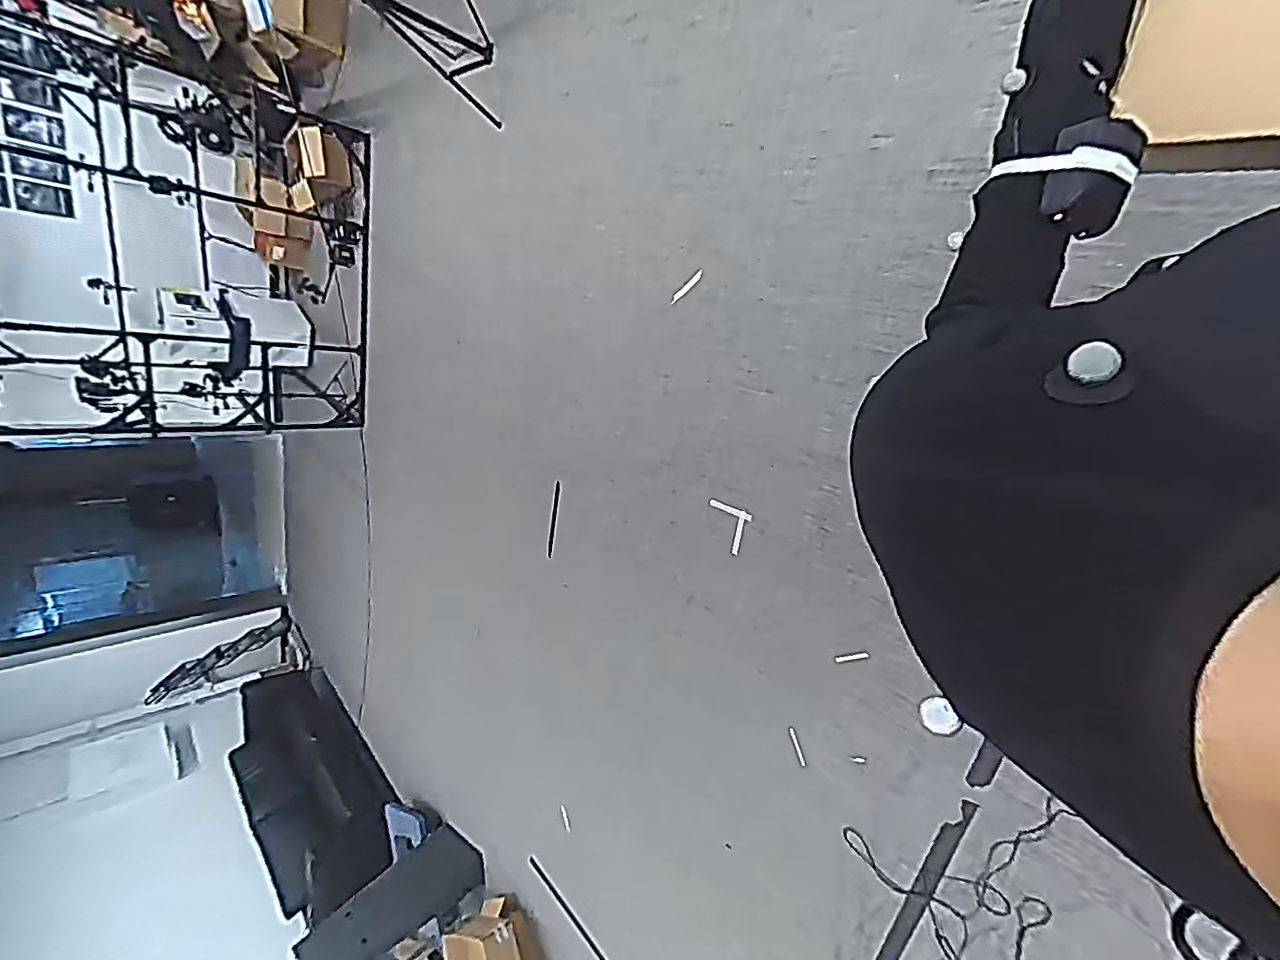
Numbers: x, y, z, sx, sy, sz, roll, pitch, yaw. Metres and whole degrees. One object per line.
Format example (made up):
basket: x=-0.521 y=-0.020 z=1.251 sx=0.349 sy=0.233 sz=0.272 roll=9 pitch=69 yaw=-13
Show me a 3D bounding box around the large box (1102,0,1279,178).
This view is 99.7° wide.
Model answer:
large box: x=0.600 y=-0.386 z=0.338 sx=0.408 sy=0.320 sz=0.320 roll=21 pitch=123 yaw=37
